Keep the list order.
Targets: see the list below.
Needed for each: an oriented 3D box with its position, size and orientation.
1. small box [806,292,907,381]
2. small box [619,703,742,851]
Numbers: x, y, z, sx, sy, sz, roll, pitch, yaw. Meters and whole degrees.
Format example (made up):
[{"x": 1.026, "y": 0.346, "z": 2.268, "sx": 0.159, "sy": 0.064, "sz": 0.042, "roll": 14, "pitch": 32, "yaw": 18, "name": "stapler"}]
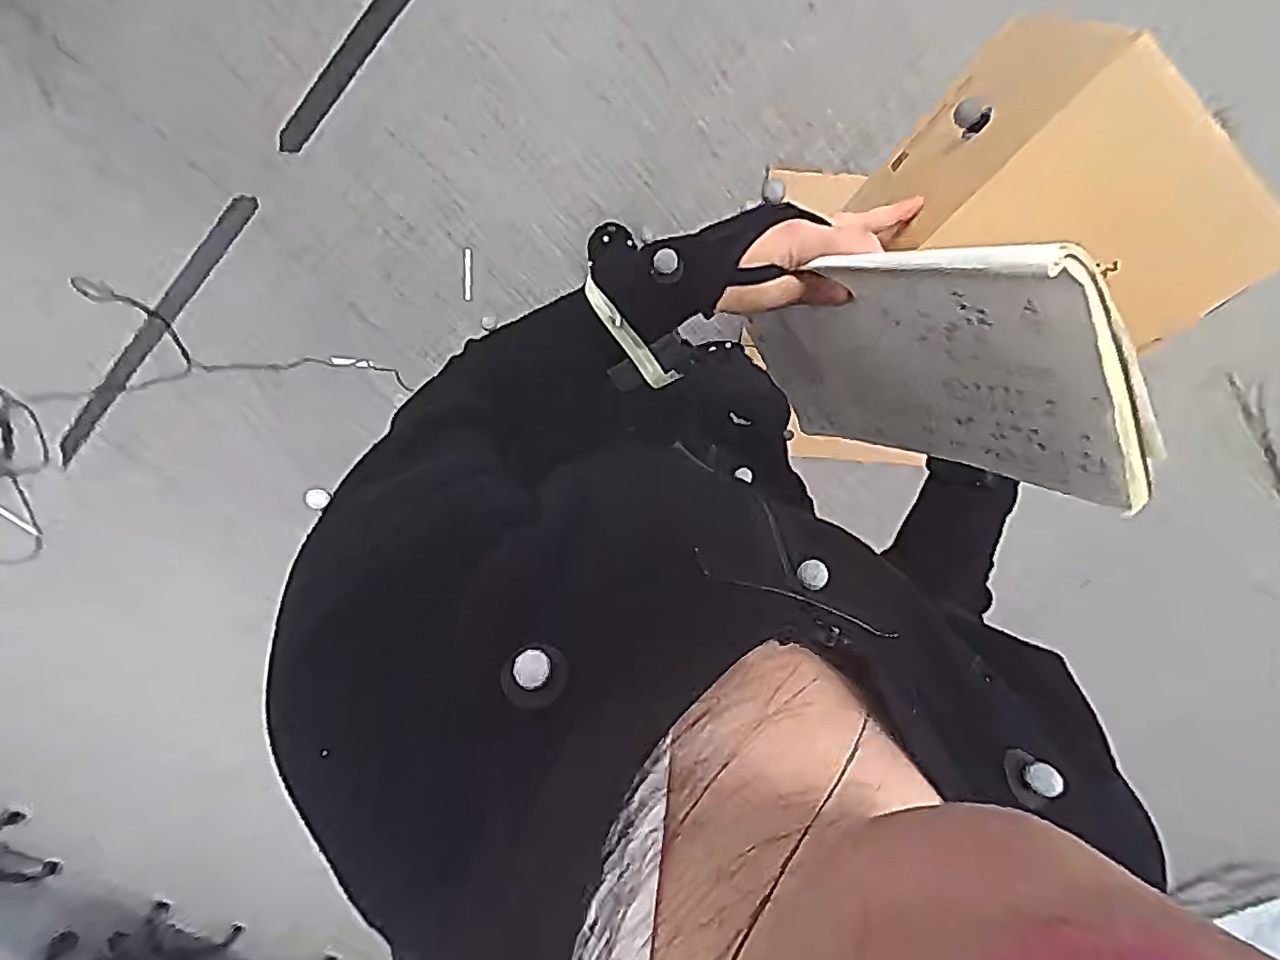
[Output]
[{"x": 0.509, "y": -0.344, "z": 1.300, "sx": 0.168, "sy": 0.176, "sz": 0.179, "roll": 3, "pitch": 119, "yaw": -1, "name": "small box"}, {"x": 0.076, "y": 0.576, "z": 1.060, "sx": 0.168, "sy": 0.176, "sz": 0.179, "roll": -34, "pitch": 113, "yaw": 15, "name": "small box"}]
